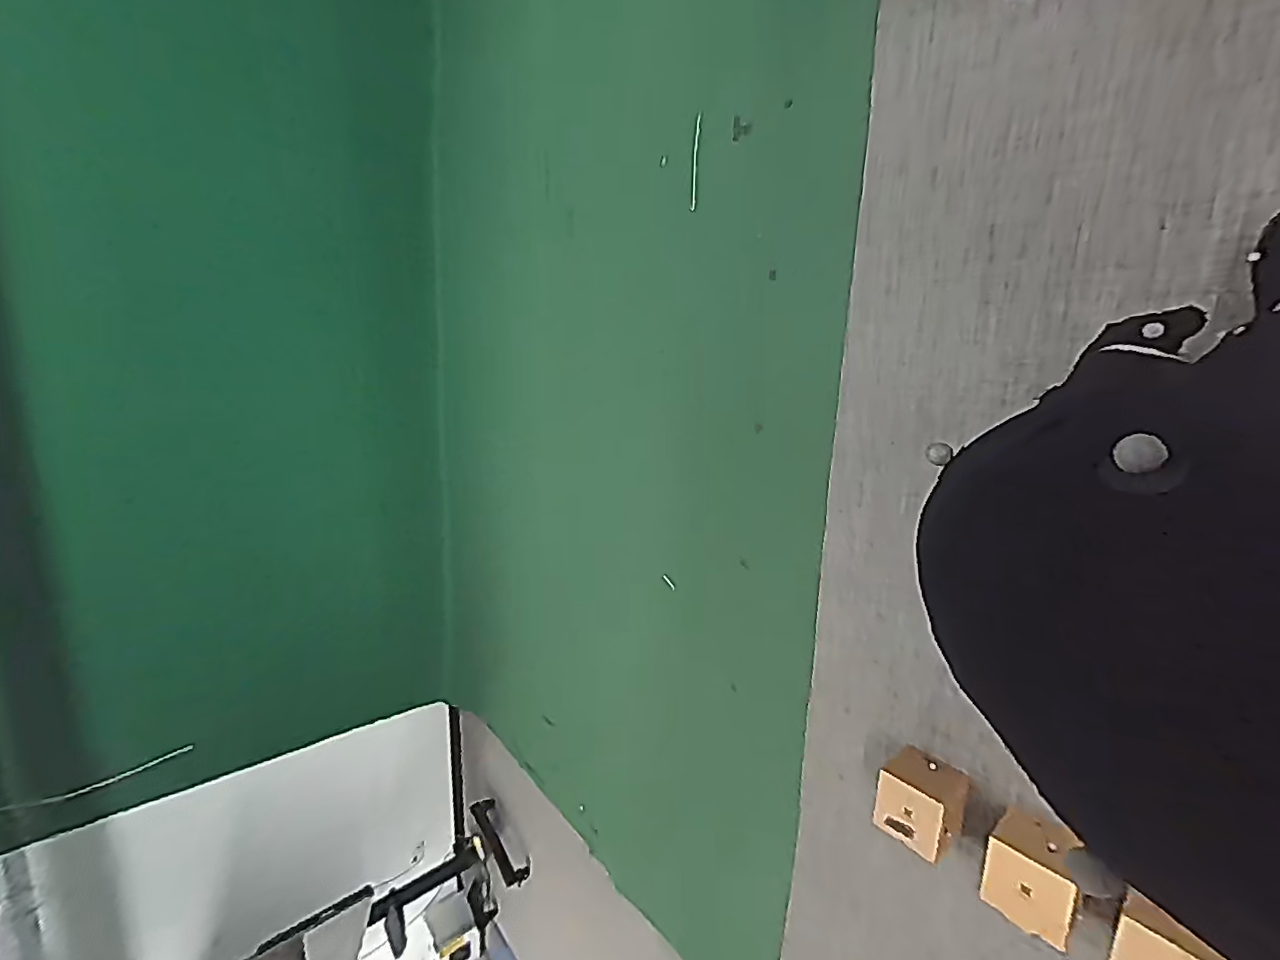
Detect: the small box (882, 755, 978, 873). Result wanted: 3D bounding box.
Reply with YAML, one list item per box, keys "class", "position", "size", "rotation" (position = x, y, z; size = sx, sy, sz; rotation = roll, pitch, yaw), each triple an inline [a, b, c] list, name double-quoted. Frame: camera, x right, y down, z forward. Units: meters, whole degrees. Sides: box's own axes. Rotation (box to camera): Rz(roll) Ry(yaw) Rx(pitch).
- class: "small box"
  position: [0.774, 0.879, 1.443]
  size: [0.168, 0.176, 0.179]
  rotation: [14, 105, 49]

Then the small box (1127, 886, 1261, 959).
- class: "small box"
  position: [1.088, 0.968, 1.069]
  size: [0.168, 0.176, 0.179]
  rotation: [16, 107, 49]

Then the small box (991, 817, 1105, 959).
- class: "small box"
  position: [0.942, 0.929, 1.246]
  size: [0.168, 0.176, 0.179]
  rotation: [13, 105, 50]
